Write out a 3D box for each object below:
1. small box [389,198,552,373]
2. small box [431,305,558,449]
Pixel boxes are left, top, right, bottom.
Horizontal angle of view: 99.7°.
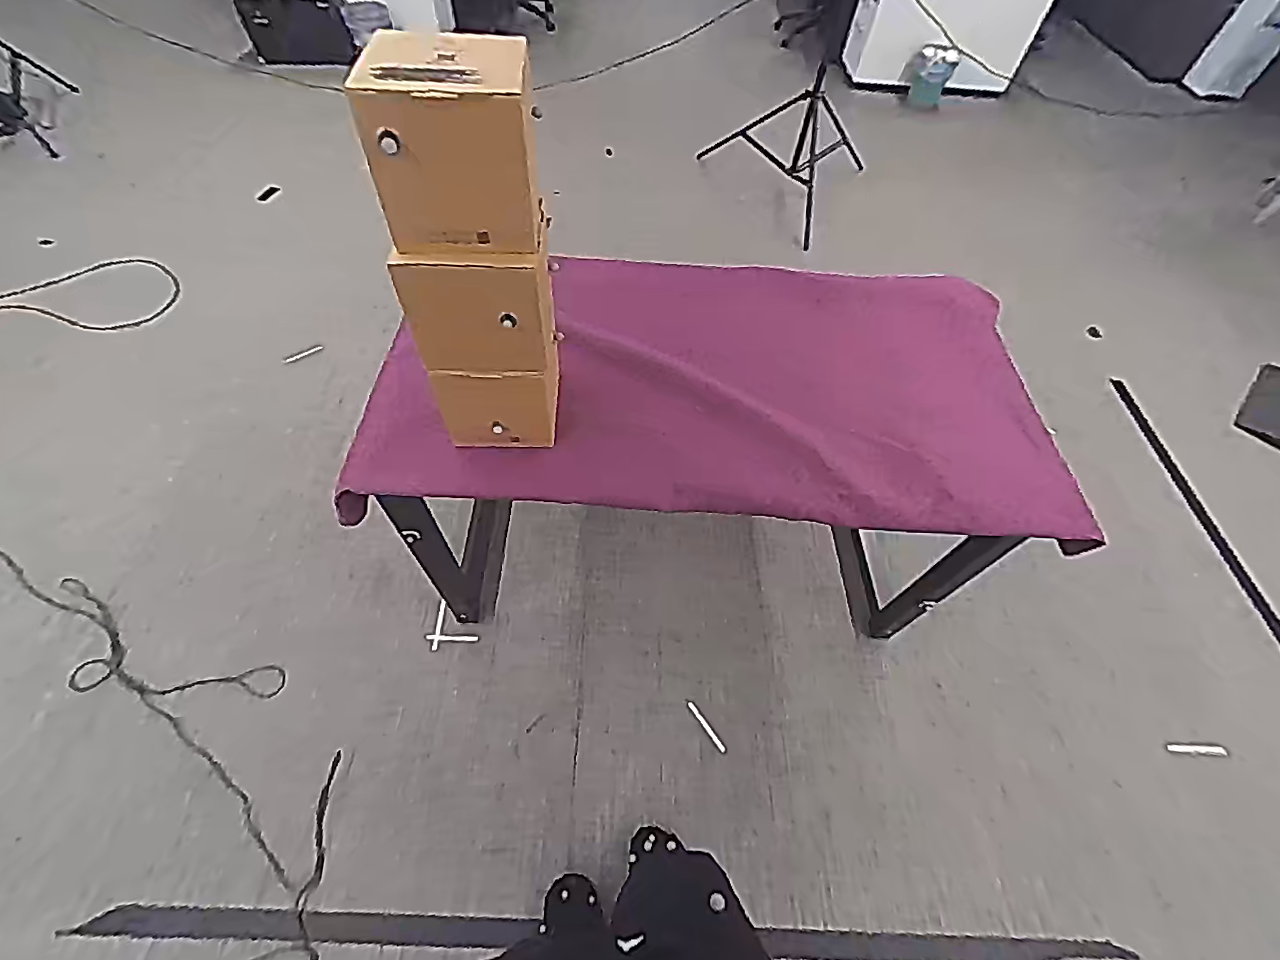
[{"bbox_3d":[-0.217,-0.263,0.750,0.179,0.176,0.168,-1,54,-4],"label":"small box"},{"bbox_3d":[-0.224,-0.171,0.884,0.168,0.176,0.179,0,56,-3],"label":"small box"}]
